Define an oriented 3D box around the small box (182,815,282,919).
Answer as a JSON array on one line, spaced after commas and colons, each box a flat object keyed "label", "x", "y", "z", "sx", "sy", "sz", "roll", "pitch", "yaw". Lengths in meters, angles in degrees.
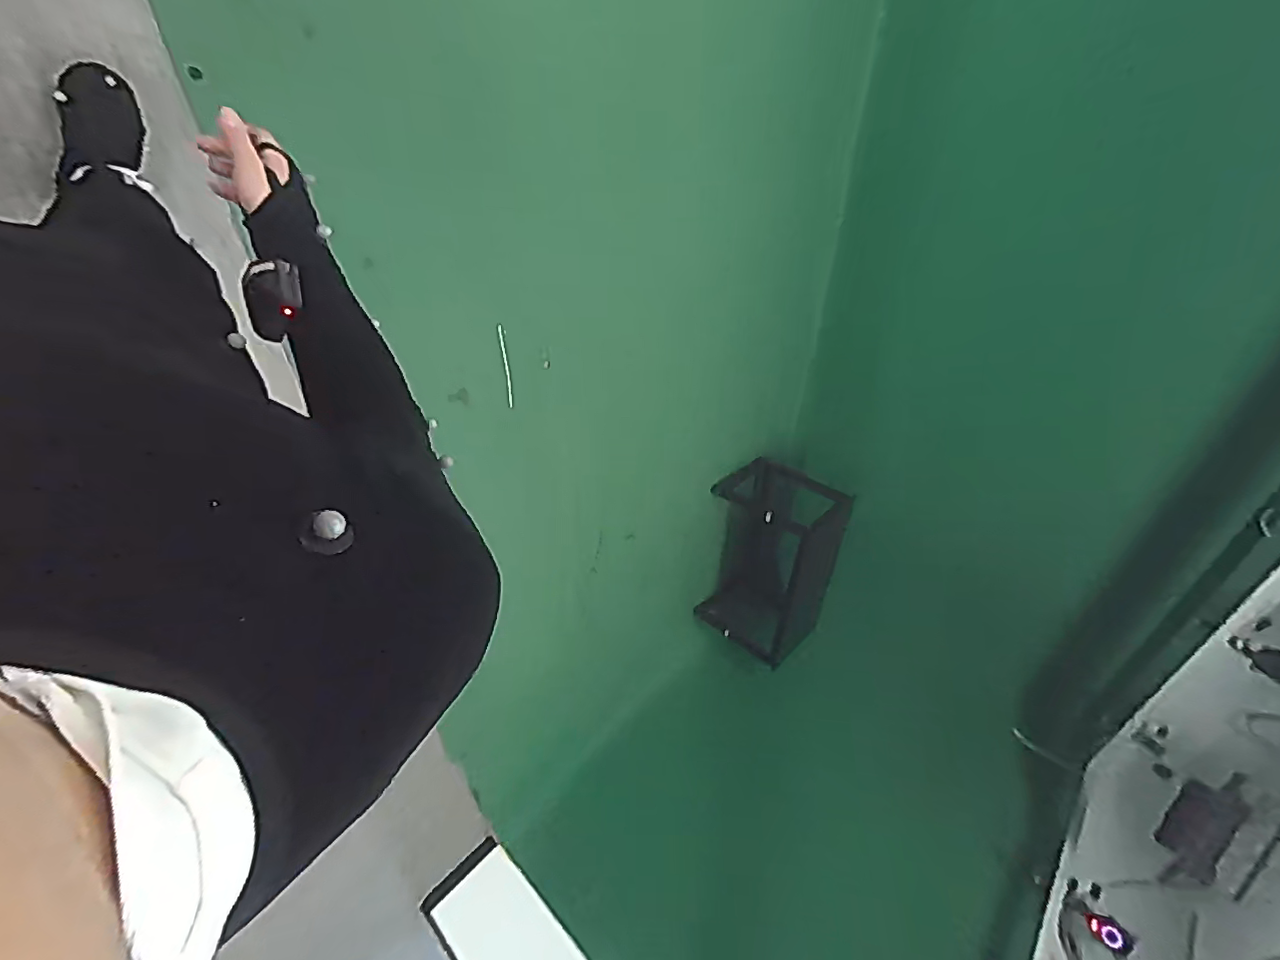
[{"label": "small box", "x": -1.229, "y": 1.160, "z": 1.632, "sx": 0.168, "sy": 0.176, "sz": 0.179, "roll": -34, "pitch": 139, "yaw": -36}]
